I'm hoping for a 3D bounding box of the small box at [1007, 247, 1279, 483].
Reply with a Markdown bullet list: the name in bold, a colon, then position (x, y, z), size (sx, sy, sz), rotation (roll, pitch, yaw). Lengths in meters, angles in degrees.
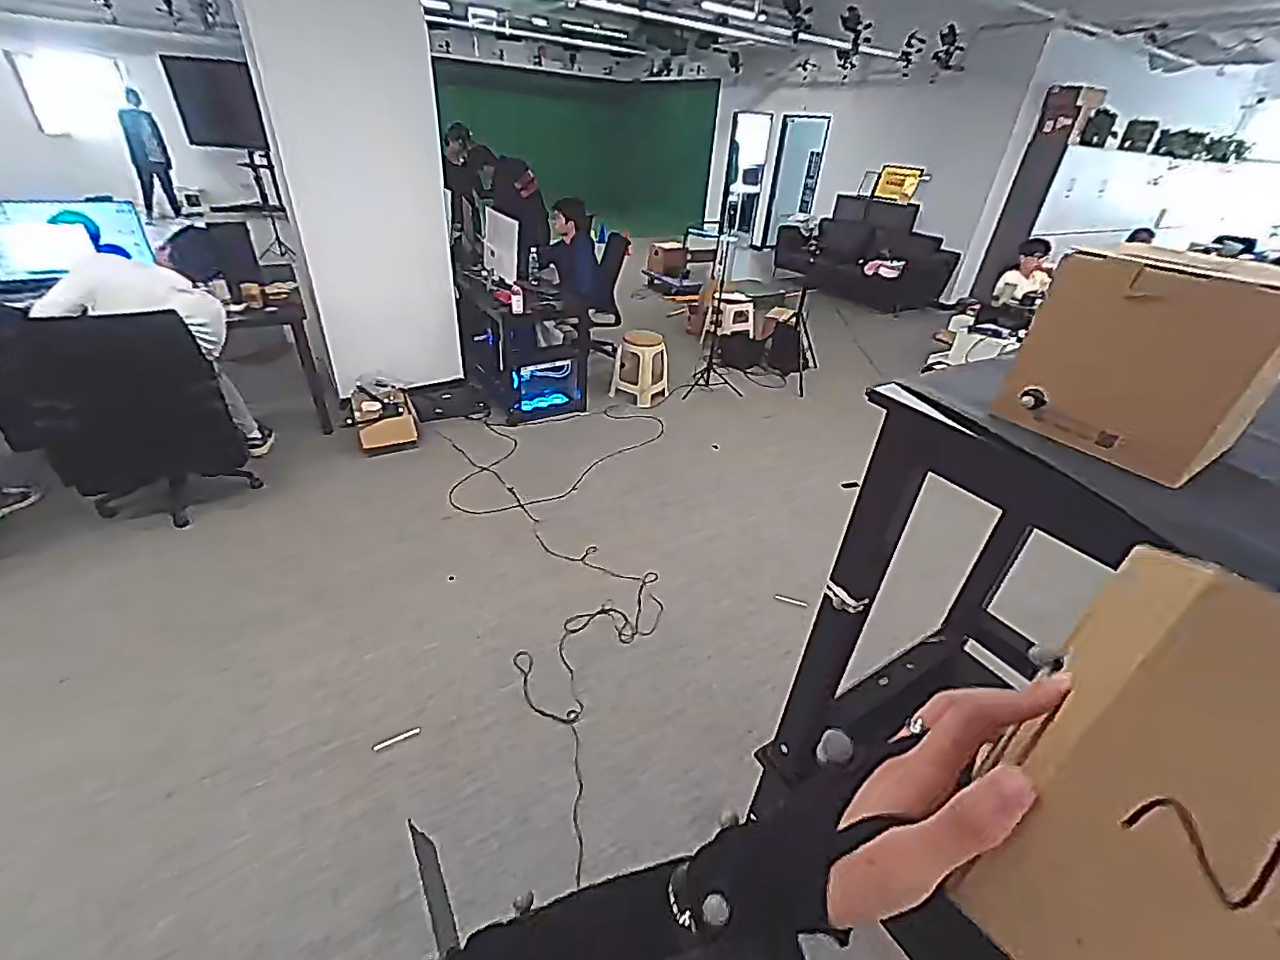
- **small box**: position (0.496, -0.117, 0.519), size (0.179, 0.176, 0.168), rotation (-16, 39, -30)
